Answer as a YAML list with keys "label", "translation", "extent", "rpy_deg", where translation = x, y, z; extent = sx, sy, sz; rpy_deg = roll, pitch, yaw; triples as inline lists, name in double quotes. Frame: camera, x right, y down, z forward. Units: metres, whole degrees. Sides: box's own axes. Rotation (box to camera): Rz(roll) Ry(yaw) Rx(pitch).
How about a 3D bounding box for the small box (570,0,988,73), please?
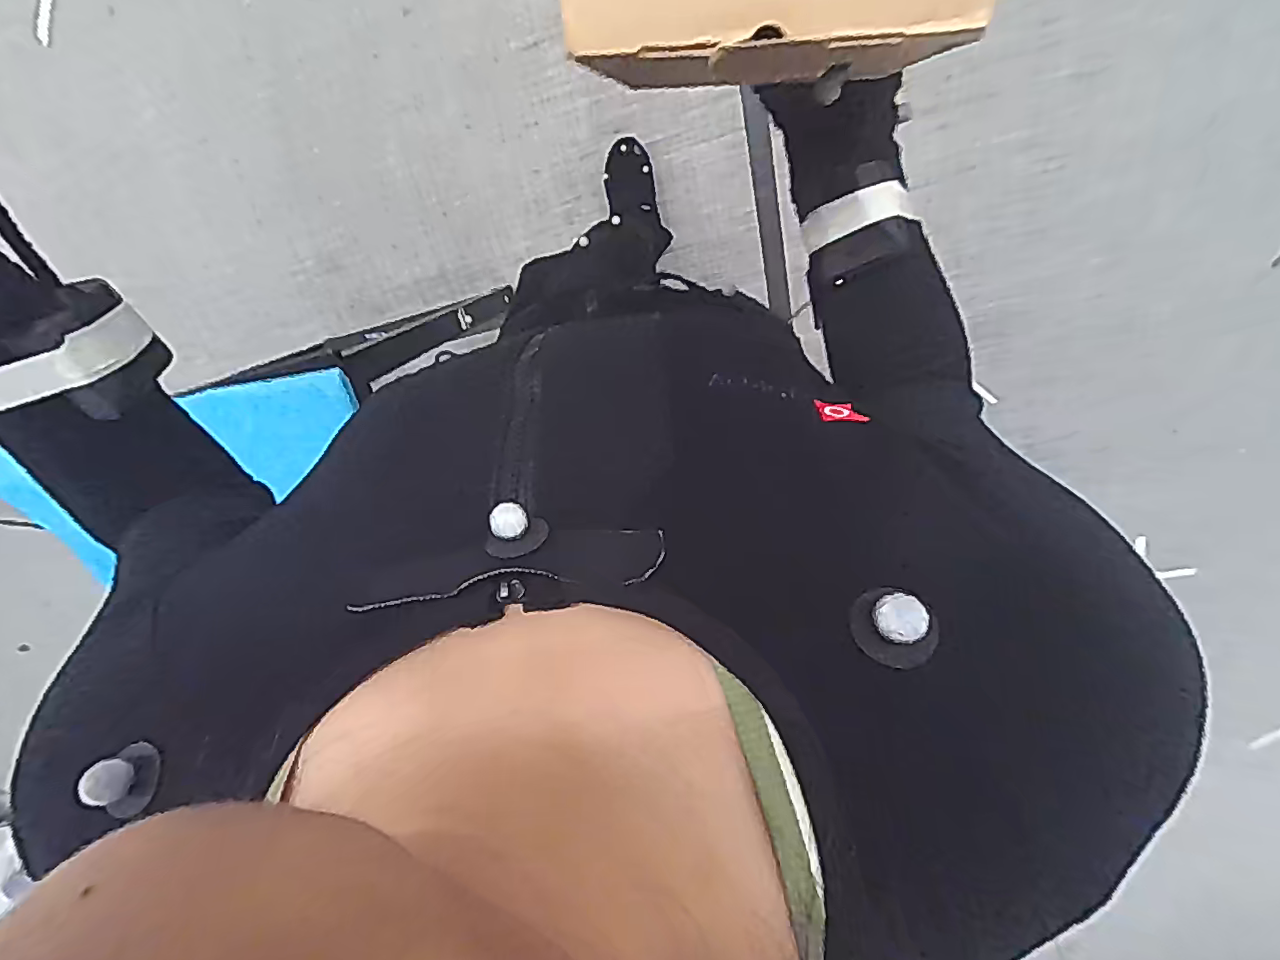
- label: "small box"
  translation: [0.064, -0.293, 0.238]
  extent: [0.168, 0.176, 0.179]
  rpy_deg: [4, 123, 7]
